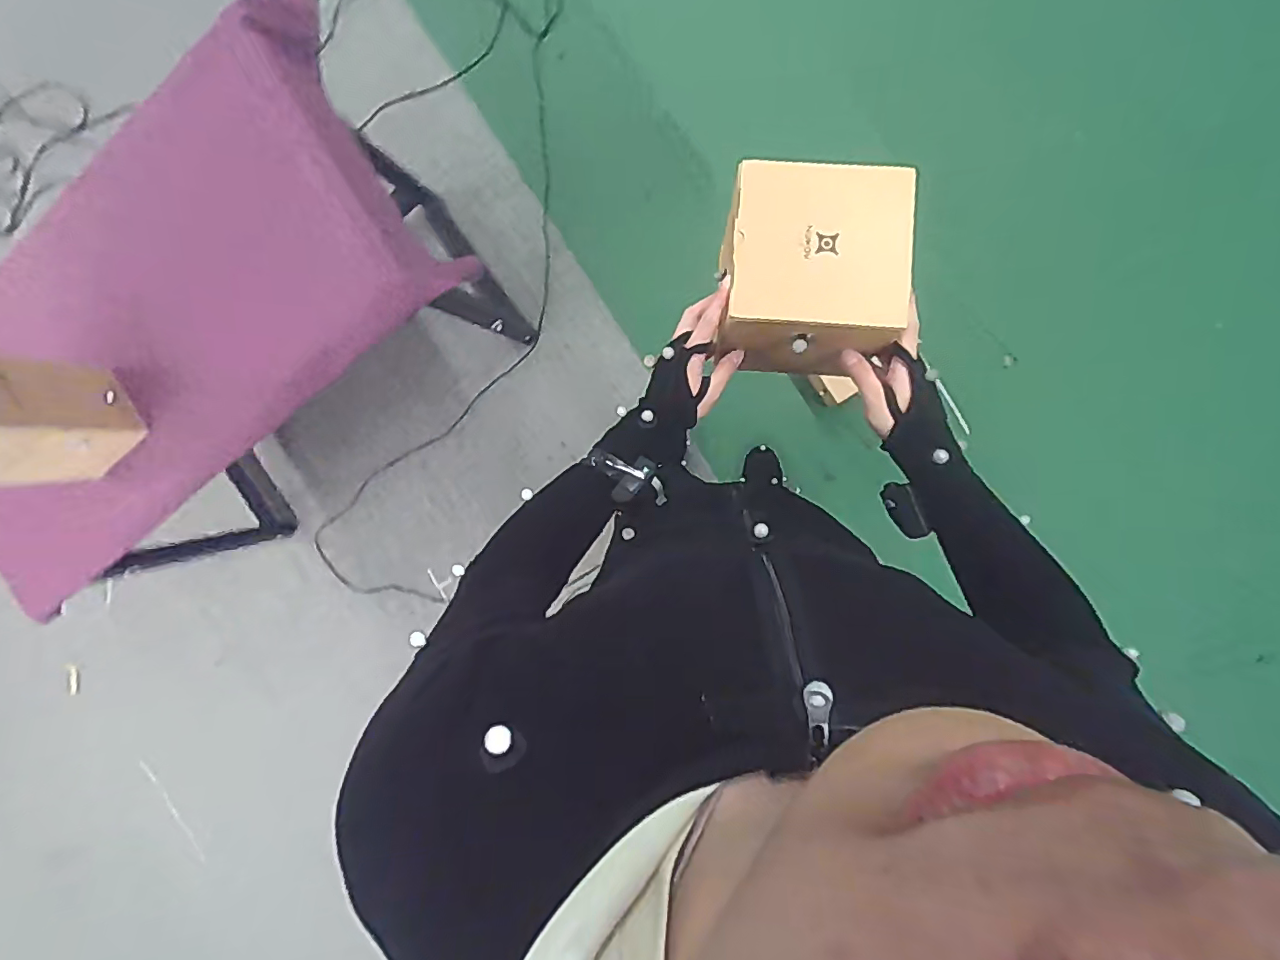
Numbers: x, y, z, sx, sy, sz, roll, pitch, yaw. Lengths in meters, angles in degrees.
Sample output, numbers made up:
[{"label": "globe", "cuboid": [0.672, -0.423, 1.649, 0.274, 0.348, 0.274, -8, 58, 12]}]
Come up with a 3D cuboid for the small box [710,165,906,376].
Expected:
[{"label": "small box", "cuboid": [0.176, -0.222, 0.611, 0.179, 0.176, 0.168, 4, 84, 5]}]

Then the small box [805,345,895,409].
[{"label": "small box", "cuboid": [0.548, -0.305, 1.457, 0.168, 0.176, 0.179, -33, 87, 11]}]

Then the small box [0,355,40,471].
[{"label": "small box", "cuboid": [-1.166, -0.110, 0.893, 0.179, 0.176, 0.168, -34, 87, 11]}]
